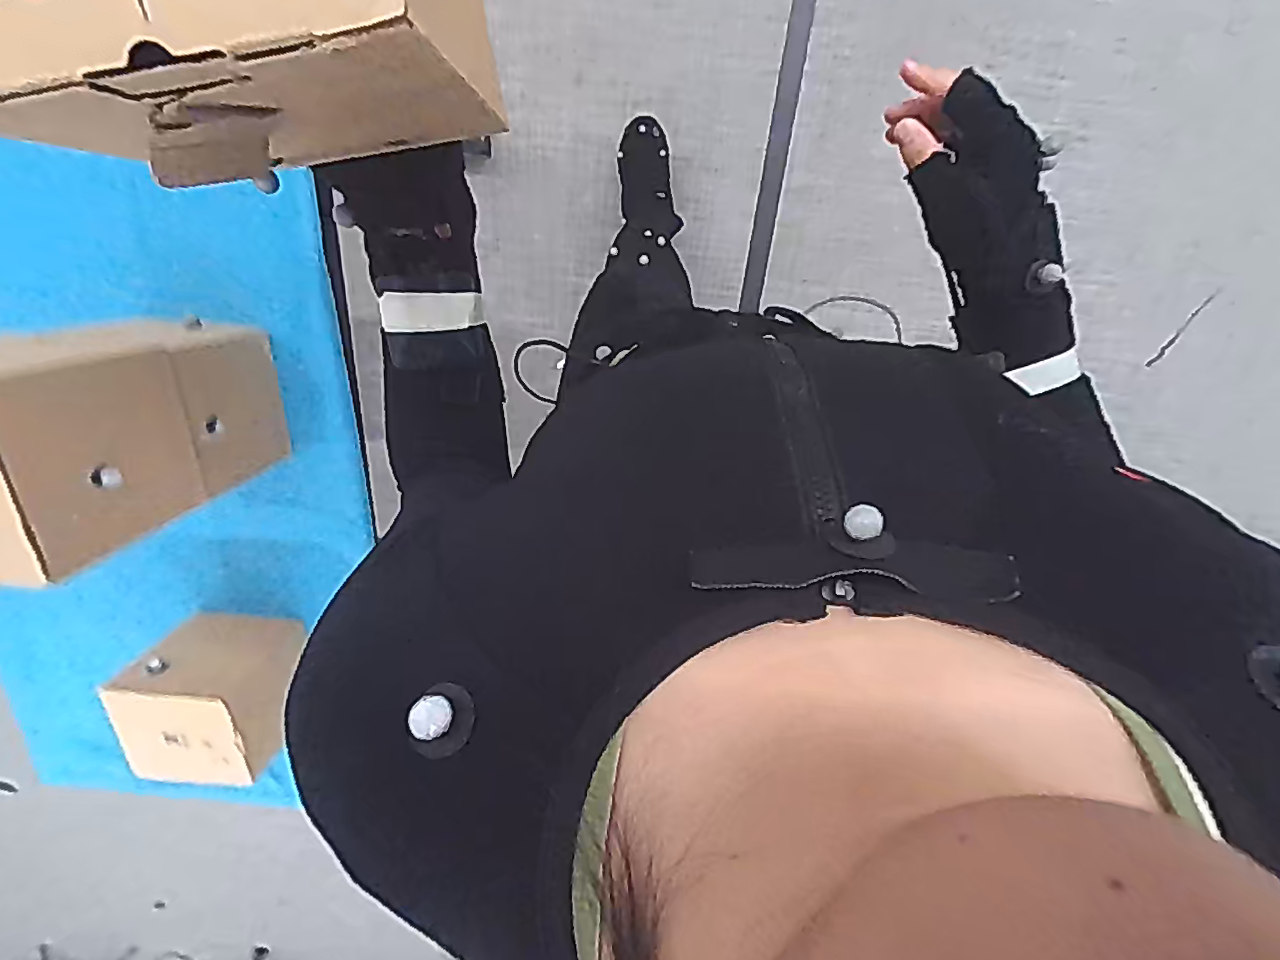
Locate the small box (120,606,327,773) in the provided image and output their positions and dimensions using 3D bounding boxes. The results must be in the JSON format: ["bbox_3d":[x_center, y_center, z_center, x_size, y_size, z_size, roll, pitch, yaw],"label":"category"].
[{"bbox_3d":[-0.622,0.314,0.833,0.179,0.176,0.168,7,115,-2],"label":"small box"}]

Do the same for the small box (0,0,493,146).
[{"bbox_3d":[-0.168,-0.243,0.205,0.168,0.176,0.179,-8,114,1],"label":"small box"}]

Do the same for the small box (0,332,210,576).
[{"bbox_3d":[-0.553,-0.033,0.499,0.168,0.176,0.179,2,113,3],"label":"small box"}]

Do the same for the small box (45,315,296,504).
[{"bbox_3d":[-0.551,-0.092,0.651,0.168,0.176,0.179,5,114,1],"label":"small box"}]
